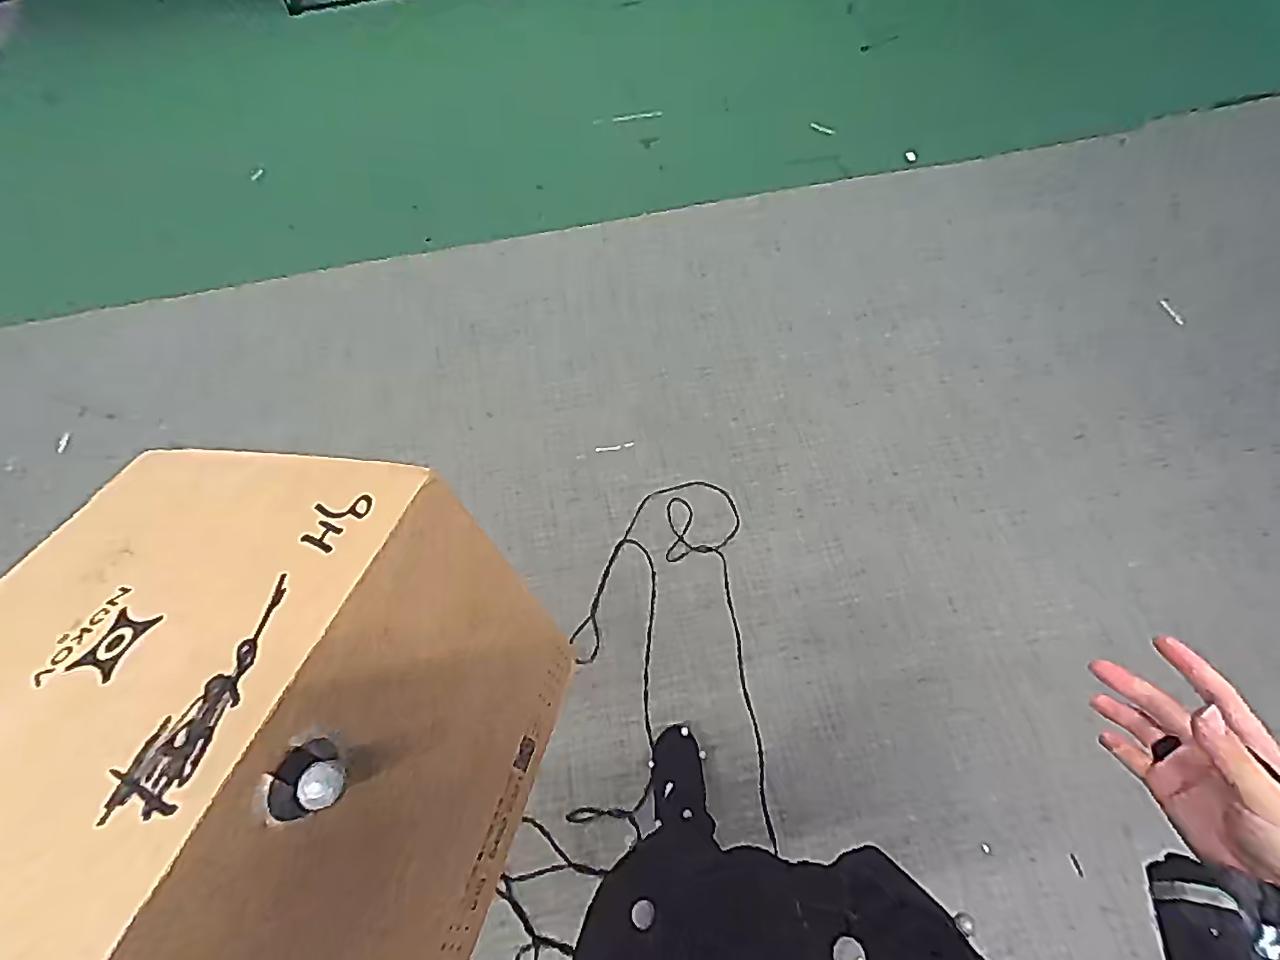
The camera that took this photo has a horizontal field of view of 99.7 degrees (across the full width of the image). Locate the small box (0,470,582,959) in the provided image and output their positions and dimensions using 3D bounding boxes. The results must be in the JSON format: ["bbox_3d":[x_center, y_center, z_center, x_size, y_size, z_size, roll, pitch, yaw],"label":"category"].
[{"bbox_3d":[-0.151,0.113,0.244,0.179,0.176,0.168,3,51,21],"label":"small box"}]
